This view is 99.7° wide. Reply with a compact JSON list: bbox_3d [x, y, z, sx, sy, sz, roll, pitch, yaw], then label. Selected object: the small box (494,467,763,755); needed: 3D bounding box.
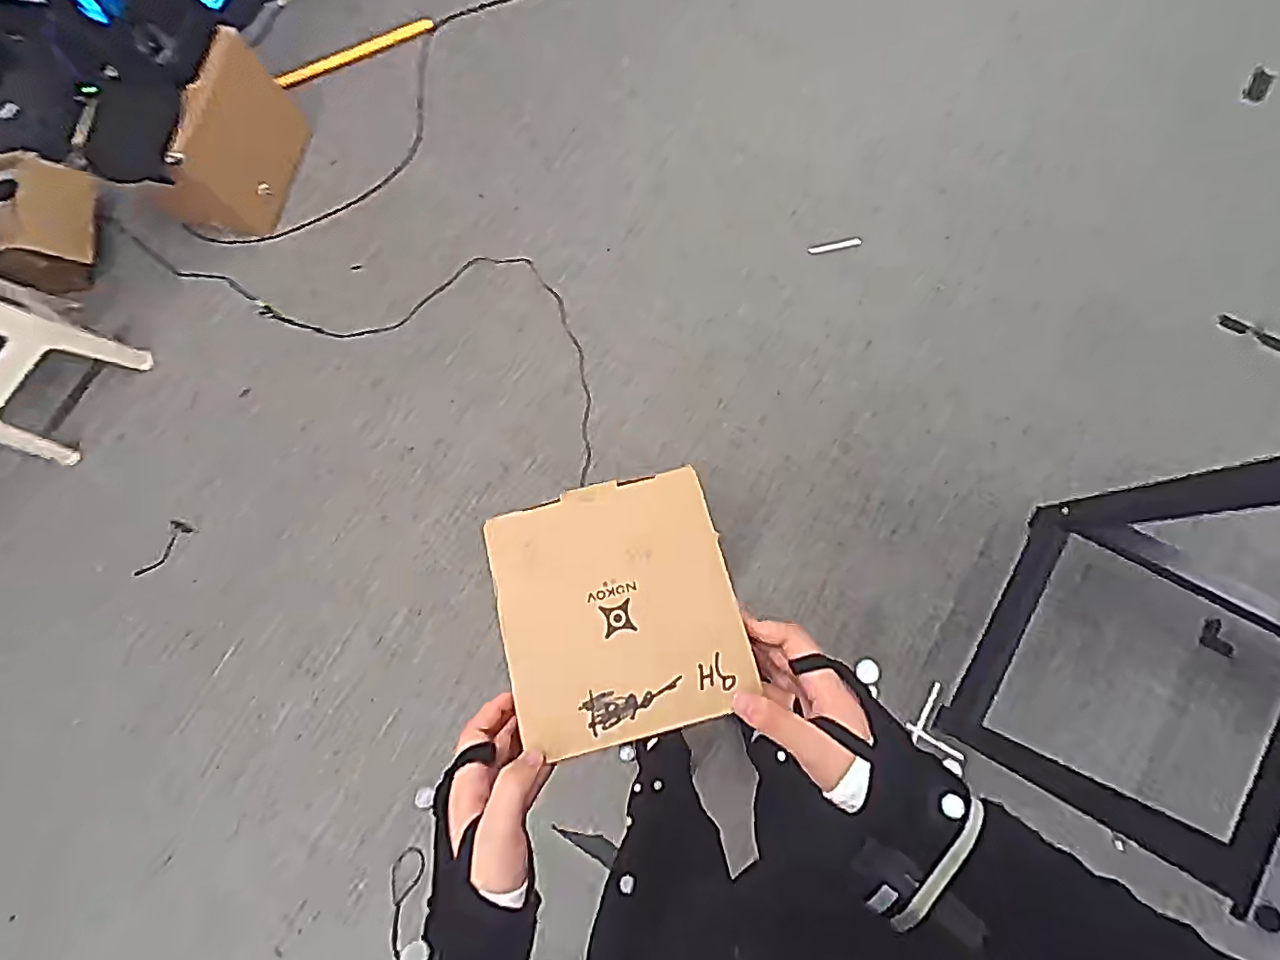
[{"bbox_3d":[-0.010,0.112,0.462,0.168,0.176,0.179,-14,71,-1],"label":"small box"}]
